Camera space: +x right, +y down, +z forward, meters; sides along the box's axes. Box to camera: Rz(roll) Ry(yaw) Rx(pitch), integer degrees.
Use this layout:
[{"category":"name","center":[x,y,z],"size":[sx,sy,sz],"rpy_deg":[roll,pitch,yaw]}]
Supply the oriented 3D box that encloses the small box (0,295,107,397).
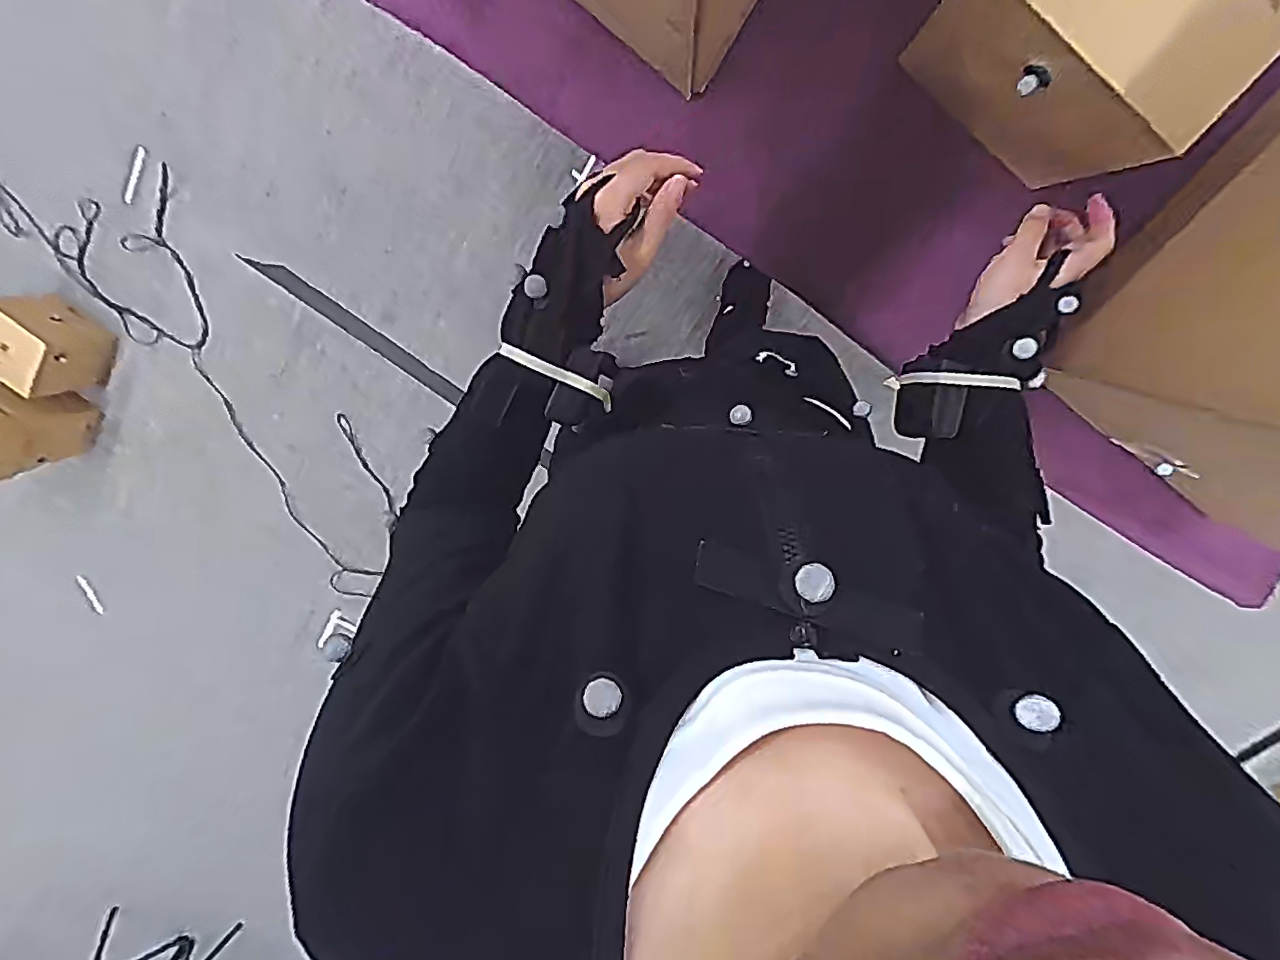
[{"category":"small box","center":[-1.482,-0.336,1.329],"size":[0.168,0.176,0.179],"rpy_deg":[40,110,-10]}]

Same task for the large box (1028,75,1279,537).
[{"category":"large box","center":[0.608,-0.145,0.369],"size":[0.320,0.320,0.408],"rpy_deg":[34,109,-9]}]
